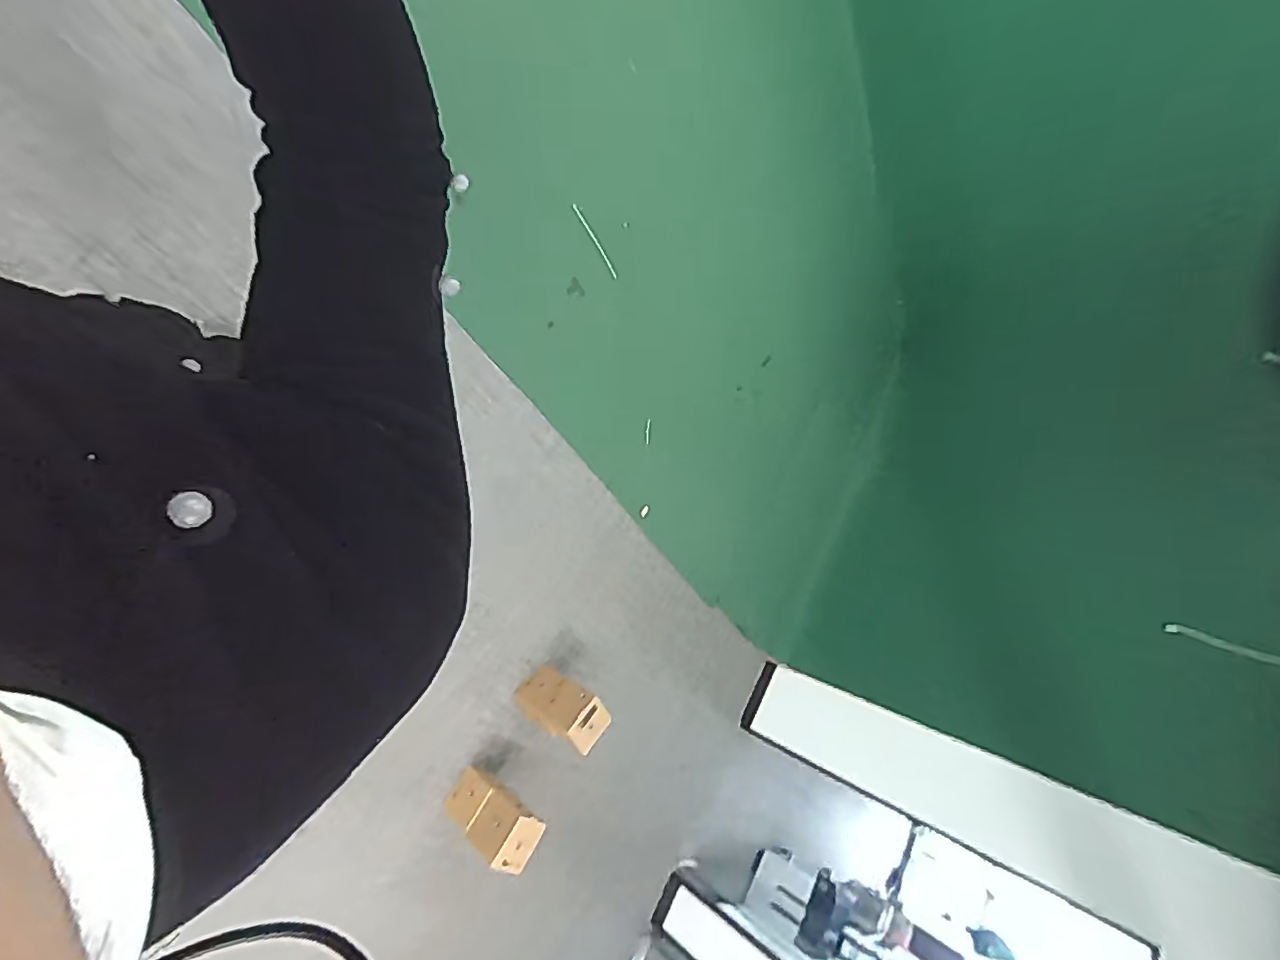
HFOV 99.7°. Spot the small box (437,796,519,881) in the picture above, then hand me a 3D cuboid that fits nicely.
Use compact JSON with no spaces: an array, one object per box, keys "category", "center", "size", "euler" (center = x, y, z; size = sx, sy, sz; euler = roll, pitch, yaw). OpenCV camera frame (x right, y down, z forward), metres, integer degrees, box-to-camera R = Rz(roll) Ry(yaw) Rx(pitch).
[{"category":"small box","center":[-0.565,1.238,1.874],"size":[0.179,0.176,0.168],"euler":[-56,136,-24]}]

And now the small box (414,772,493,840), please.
[{"category":"small box","center":[-0.686,1.202,1.979],"size":[0.168,0.176,0.179],"euler":[-57,136,-22]}]
